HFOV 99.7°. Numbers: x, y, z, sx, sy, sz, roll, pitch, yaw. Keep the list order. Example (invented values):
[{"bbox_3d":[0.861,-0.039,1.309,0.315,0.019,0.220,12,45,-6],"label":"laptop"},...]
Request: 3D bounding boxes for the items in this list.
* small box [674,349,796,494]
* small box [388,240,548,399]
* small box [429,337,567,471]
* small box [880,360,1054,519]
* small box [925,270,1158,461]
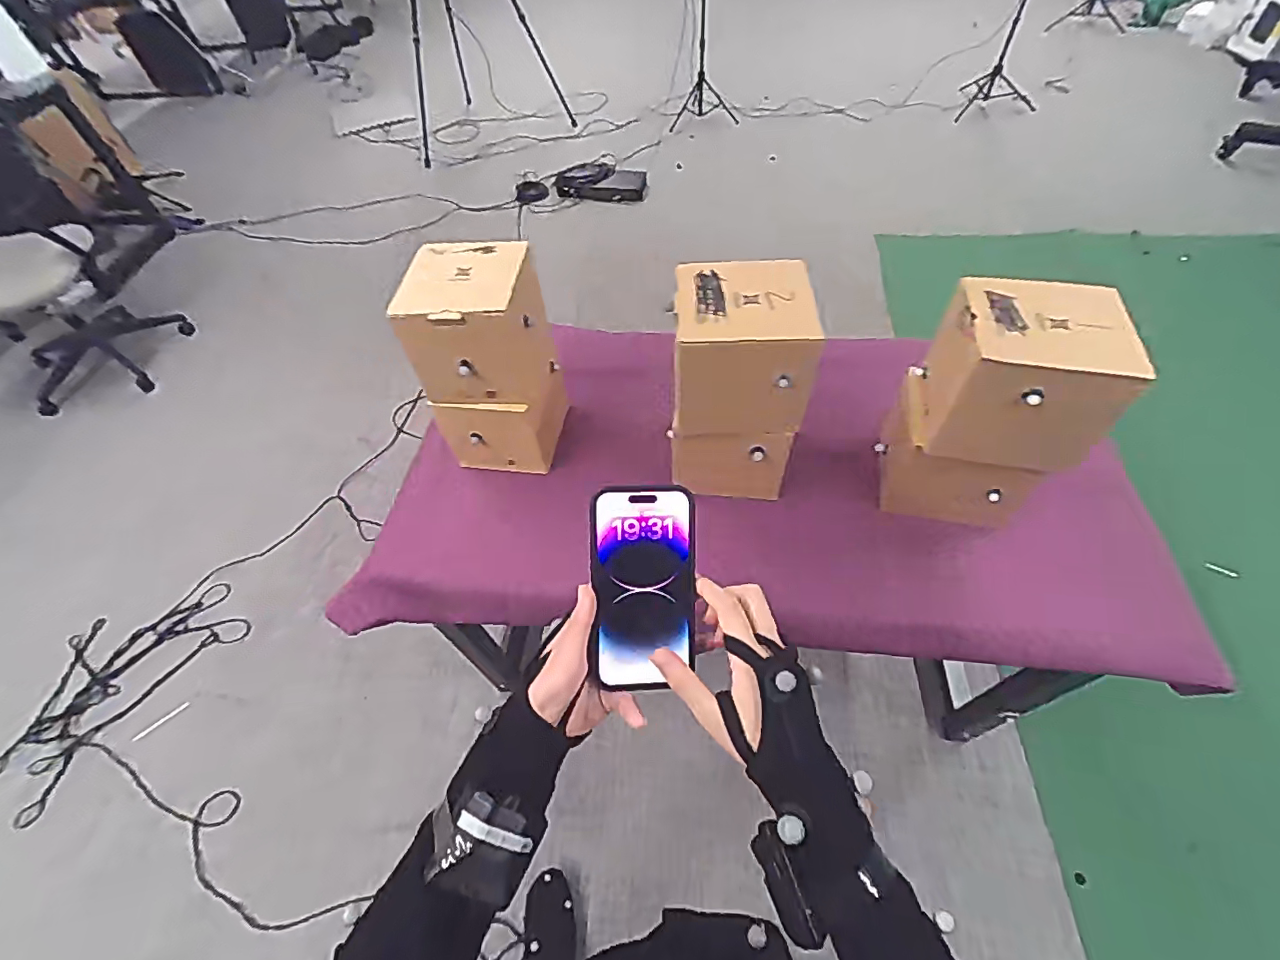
[{"bbox_3d":[0.150,-0.091,0.881,0.179,0.176,0.168,4,54,8],"label":"small box"},{"bbox_3d":[-0.244,-0.237,0.820,0.168,0.176,0.179,0,54,4],"label":"small box"},{"bbox_3d":[-0.233,-0.132,0.946,0.168,0.176,0.179,4,54,8],"label":"small box"},{"bbox_3d":[0.485,-0.057,0.828,0.179,0.176,0.168,9,54,12],"label":"small box"},{"bbox_3d":[0.480,-0.142,0.688,0.179,0.176,0.168,9,54,11],"label":"small box"}]
